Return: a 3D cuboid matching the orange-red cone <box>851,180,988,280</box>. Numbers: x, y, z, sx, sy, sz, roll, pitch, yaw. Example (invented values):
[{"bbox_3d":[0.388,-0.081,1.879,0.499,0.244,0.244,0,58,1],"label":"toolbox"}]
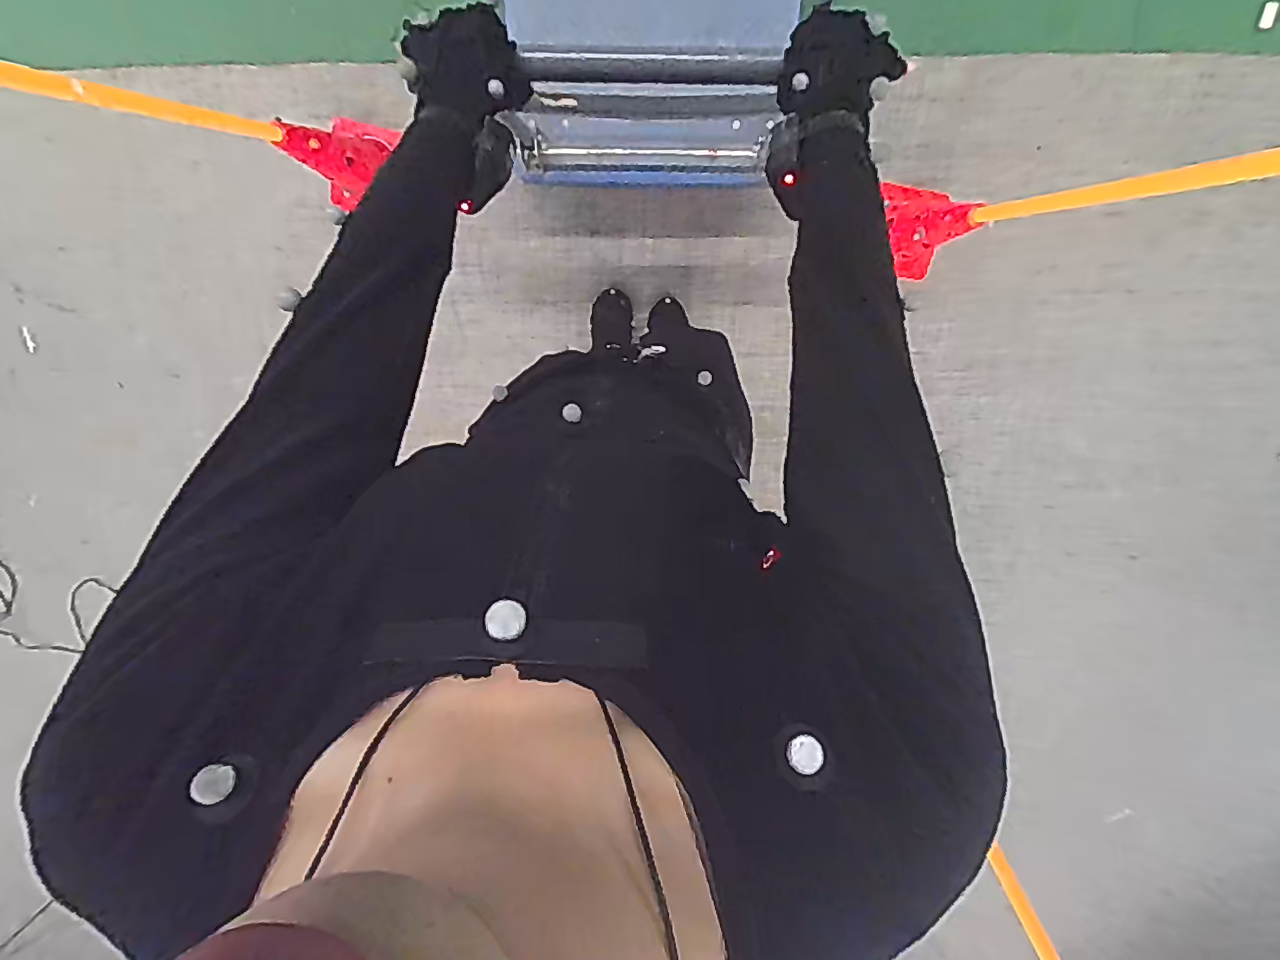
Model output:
[{"bbox_3d":[0.629,-0.549,1.160,0.198,0.360,0.199,11,110,-2],"label":"orange-red cone"}]
